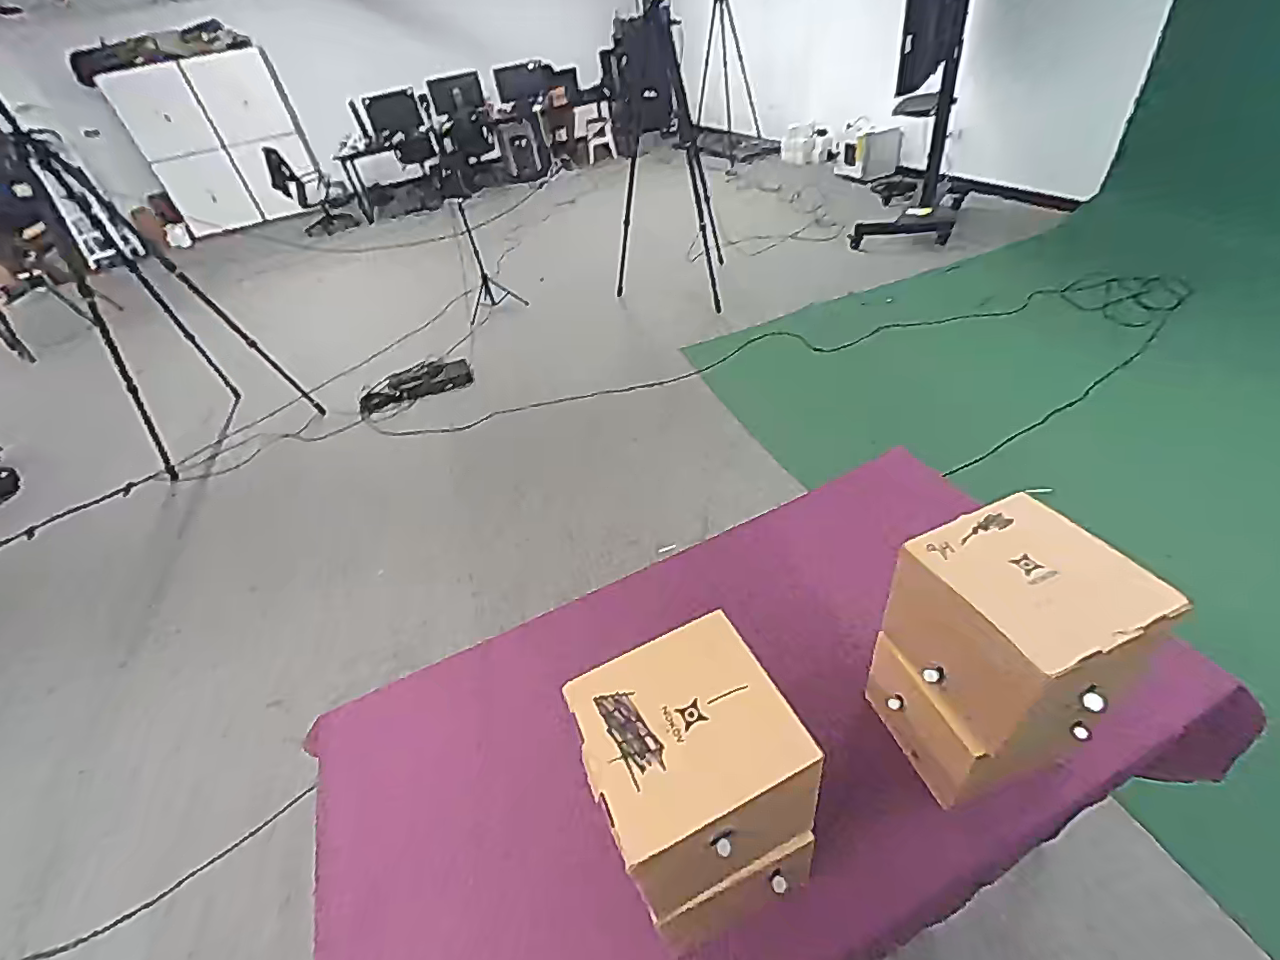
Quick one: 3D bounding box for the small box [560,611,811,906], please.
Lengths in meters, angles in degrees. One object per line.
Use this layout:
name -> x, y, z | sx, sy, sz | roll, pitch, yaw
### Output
small box -> 0.044, 0.269, 0.527 | 0.179, 0.176, 0.168 | -22, 42, -13

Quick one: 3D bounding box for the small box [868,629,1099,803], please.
small box -> 0.411, 0.275, 0.688 | 0.179, 0.176, 0.168 | -18, 41, -8

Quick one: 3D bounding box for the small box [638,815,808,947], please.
small box -> 0.072, 0.396, 0.629 | 0.179, 0.176, 0.168 | -20, 41, -10

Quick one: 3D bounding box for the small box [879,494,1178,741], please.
small box -> 0.389, 0.151, 0.582 | 0.168, 0.176, 0.179 | -20, 42, -10
